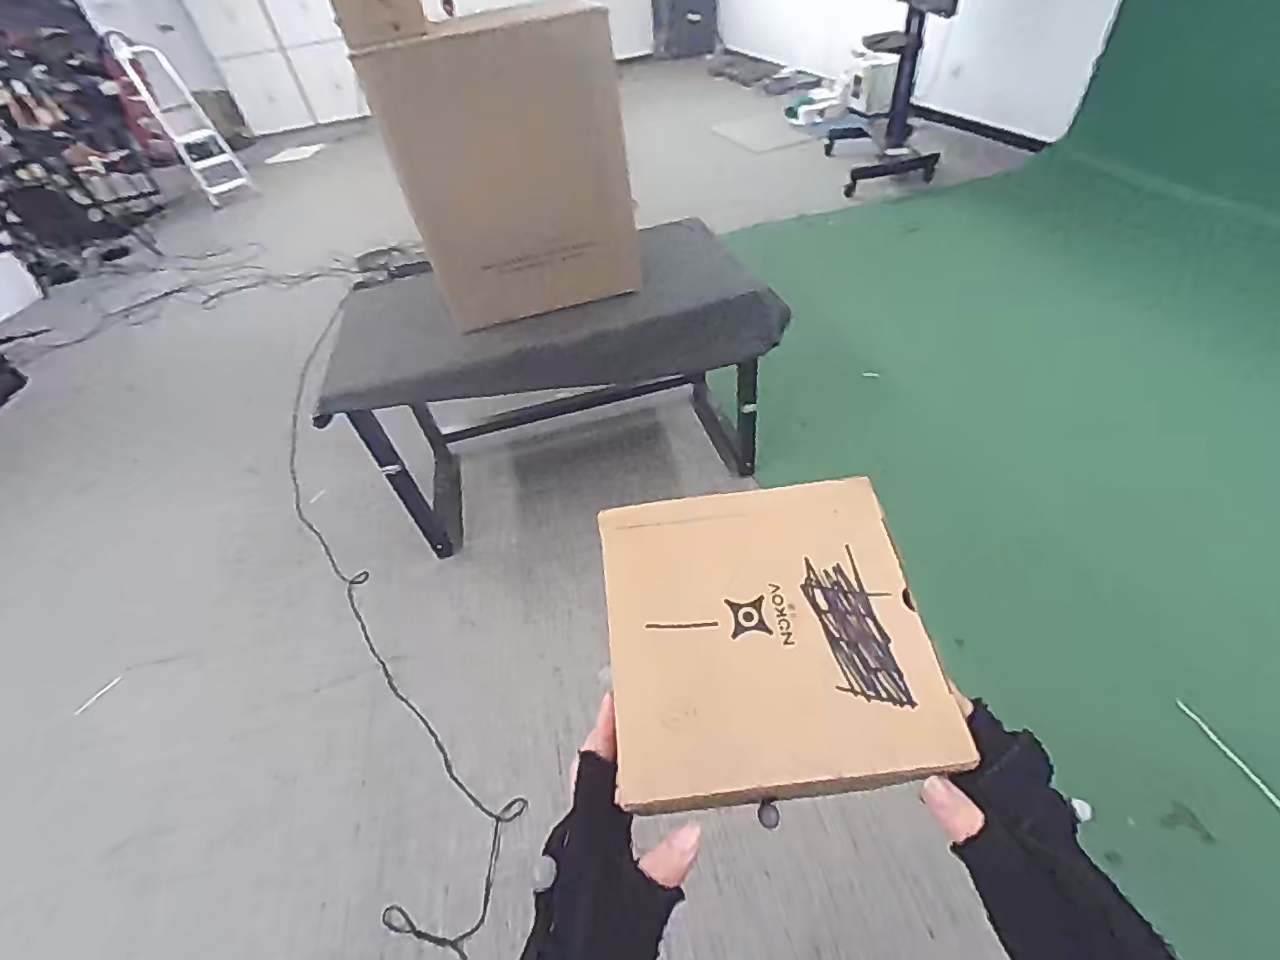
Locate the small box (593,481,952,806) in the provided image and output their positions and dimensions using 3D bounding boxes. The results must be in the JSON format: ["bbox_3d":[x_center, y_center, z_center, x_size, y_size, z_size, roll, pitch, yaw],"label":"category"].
[{"bbox_3d":[0.065,0.120,0.372,0.179,0.176,0.168,-6,56,0],"label":"small box"}]

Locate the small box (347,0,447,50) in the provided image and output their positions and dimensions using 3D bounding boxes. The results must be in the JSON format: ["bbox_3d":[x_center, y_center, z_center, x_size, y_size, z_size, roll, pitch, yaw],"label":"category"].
[{"bbox_3d":[-0.498,-0.987,1.084,0.168,0.176,0.179,-16,47,-6],"label":"small box"}]
